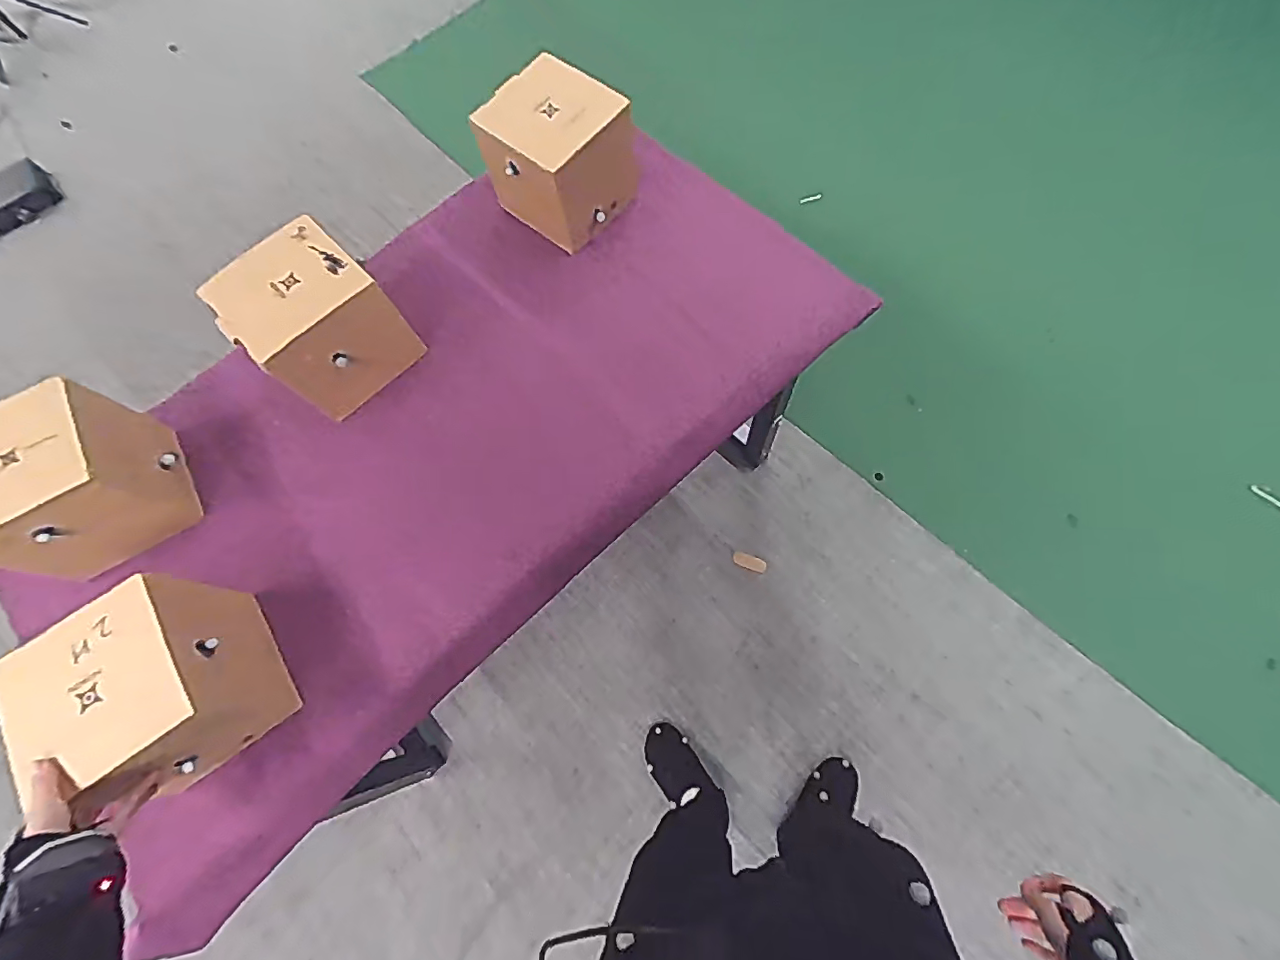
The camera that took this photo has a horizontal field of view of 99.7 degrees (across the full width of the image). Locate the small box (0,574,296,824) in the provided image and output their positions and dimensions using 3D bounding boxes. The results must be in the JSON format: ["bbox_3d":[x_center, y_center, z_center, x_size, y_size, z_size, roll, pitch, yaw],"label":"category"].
[{"bbox_3d":[-0.533,0.233,0.605,0.168,0.176,0.179,-35,72,-10],"label":"small box"}]

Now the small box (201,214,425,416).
[{"bbox_3d":[-0.445,-0.222,0.765,0.179,0.176,0.168,-44,75,-11],"label":"small box"}]

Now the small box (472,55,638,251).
[{"bbox_3d":[-0.121,-0.499,0.843,0.179,0.176,0.168,39,79,14],"label":"small box"}]

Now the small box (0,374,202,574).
[{"bbox_3d":[-0.733,0.003,0.701,0.179,0.176,0.168,-31,72,-9],"label":"small box"}]
